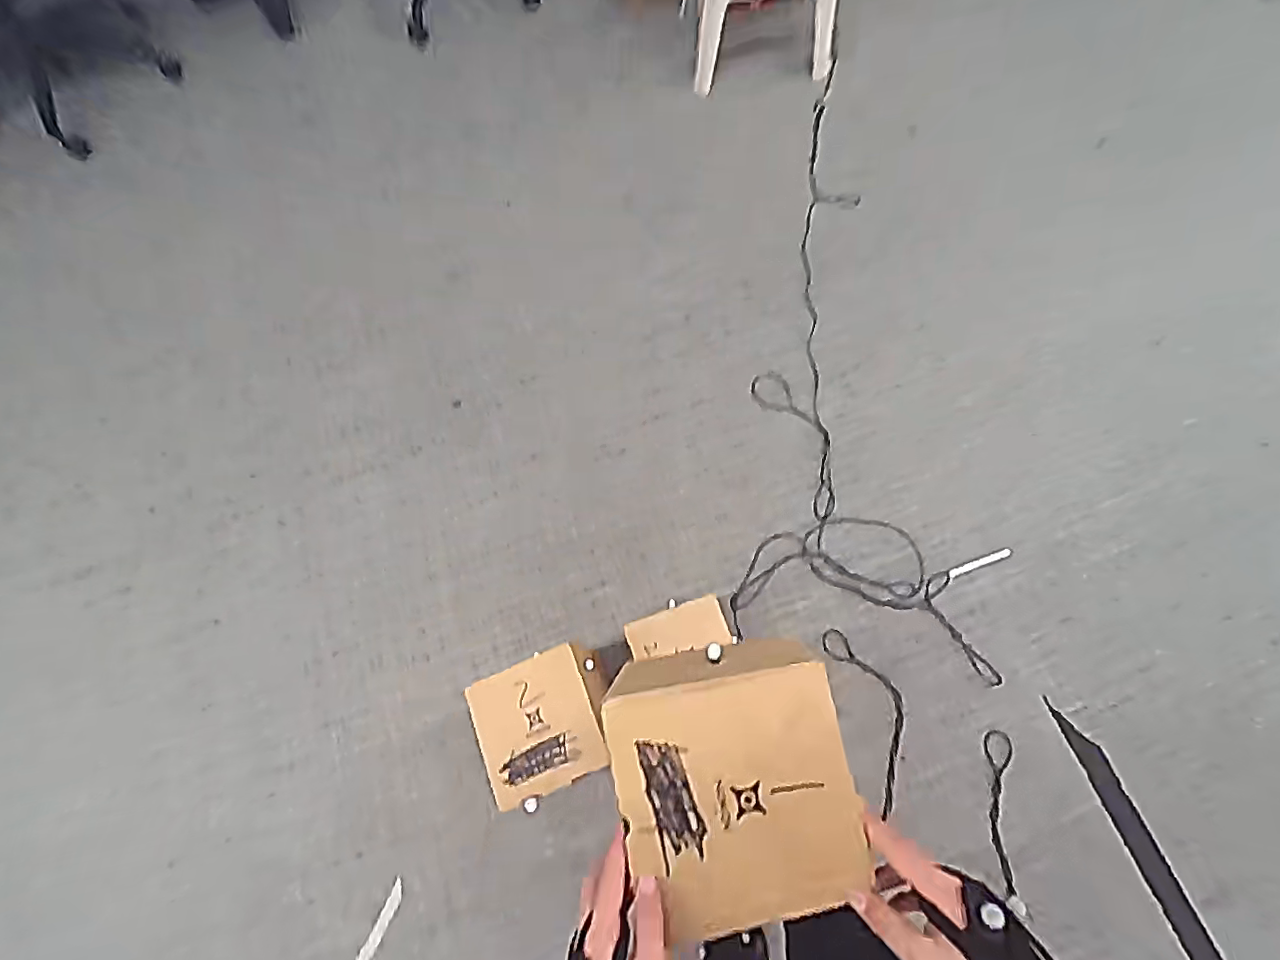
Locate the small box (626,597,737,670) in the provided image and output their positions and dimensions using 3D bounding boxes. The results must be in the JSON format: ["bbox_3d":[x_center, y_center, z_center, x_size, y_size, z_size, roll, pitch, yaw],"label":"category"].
[{"bbox_3d":[0.084,0.326,0.995,0.179,0.176,0.168,-19,71,-2],"label":"small box"}]

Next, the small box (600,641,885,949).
[{"bbox_3d":[0.076,0.244,0.464,0.179,0.176,0.168,-12,81,3],"label":"small box"}]

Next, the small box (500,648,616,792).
[{"bbox_3d":[-0.127,0.425,0.981,0.168,0.176,0.179,-27,72,-5],"label":"small box"}]
